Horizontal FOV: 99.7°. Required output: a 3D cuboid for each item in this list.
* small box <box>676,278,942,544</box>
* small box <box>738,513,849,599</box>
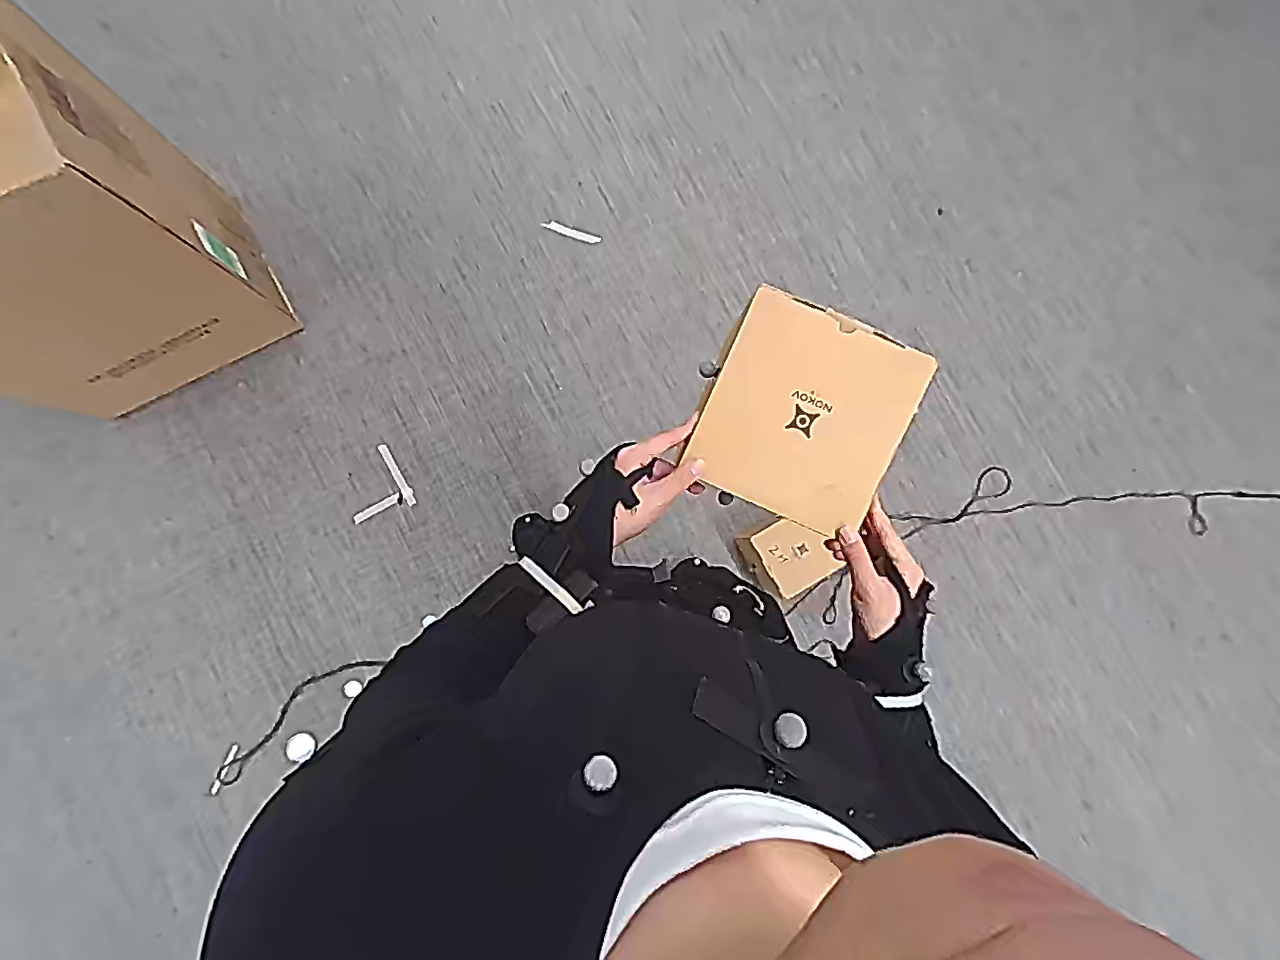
[{"bbox_3d":[0.144,-0.061,0.528,0.168,0.176,0.179,24,94,1],"label":"small box"},{"bbox_3d":[0.363,0.167,1.313,0.179,0.176,0.168,-29,86,-5],"label":"small box"}]
